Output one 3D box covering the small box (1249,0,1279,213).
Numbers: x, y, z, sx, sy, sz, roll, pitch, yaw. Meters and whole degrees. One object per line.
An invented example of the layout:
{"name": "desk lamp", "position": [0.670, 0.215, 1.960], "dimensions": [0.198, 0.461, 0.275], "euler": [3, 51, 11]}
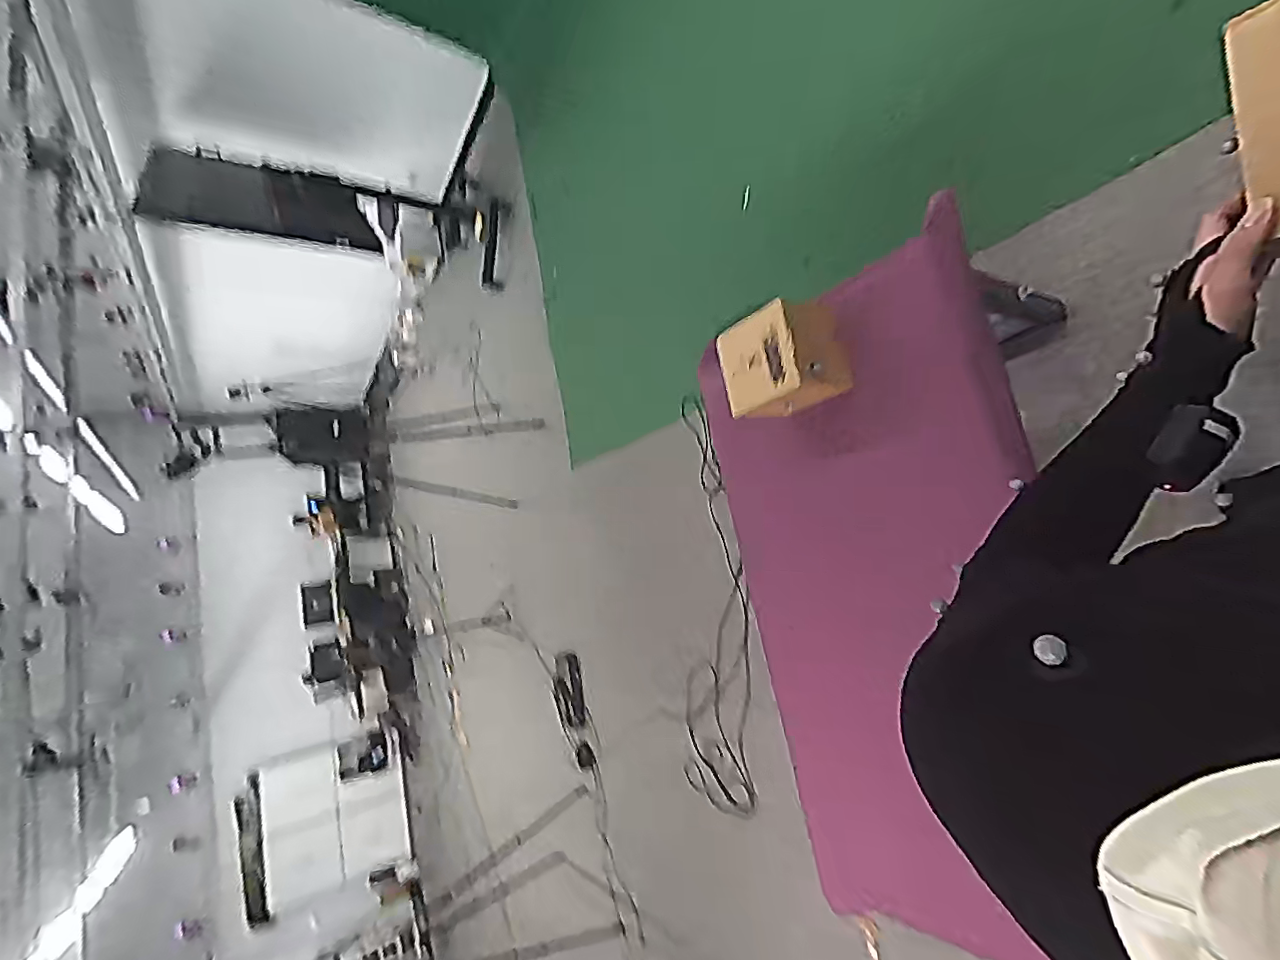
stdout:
{"name": "small box", "position": [0.581, -0.305, 0.394], "dimensions": [0.168, 0.176, 0.179], "euler": [-6, 96, 55]}
